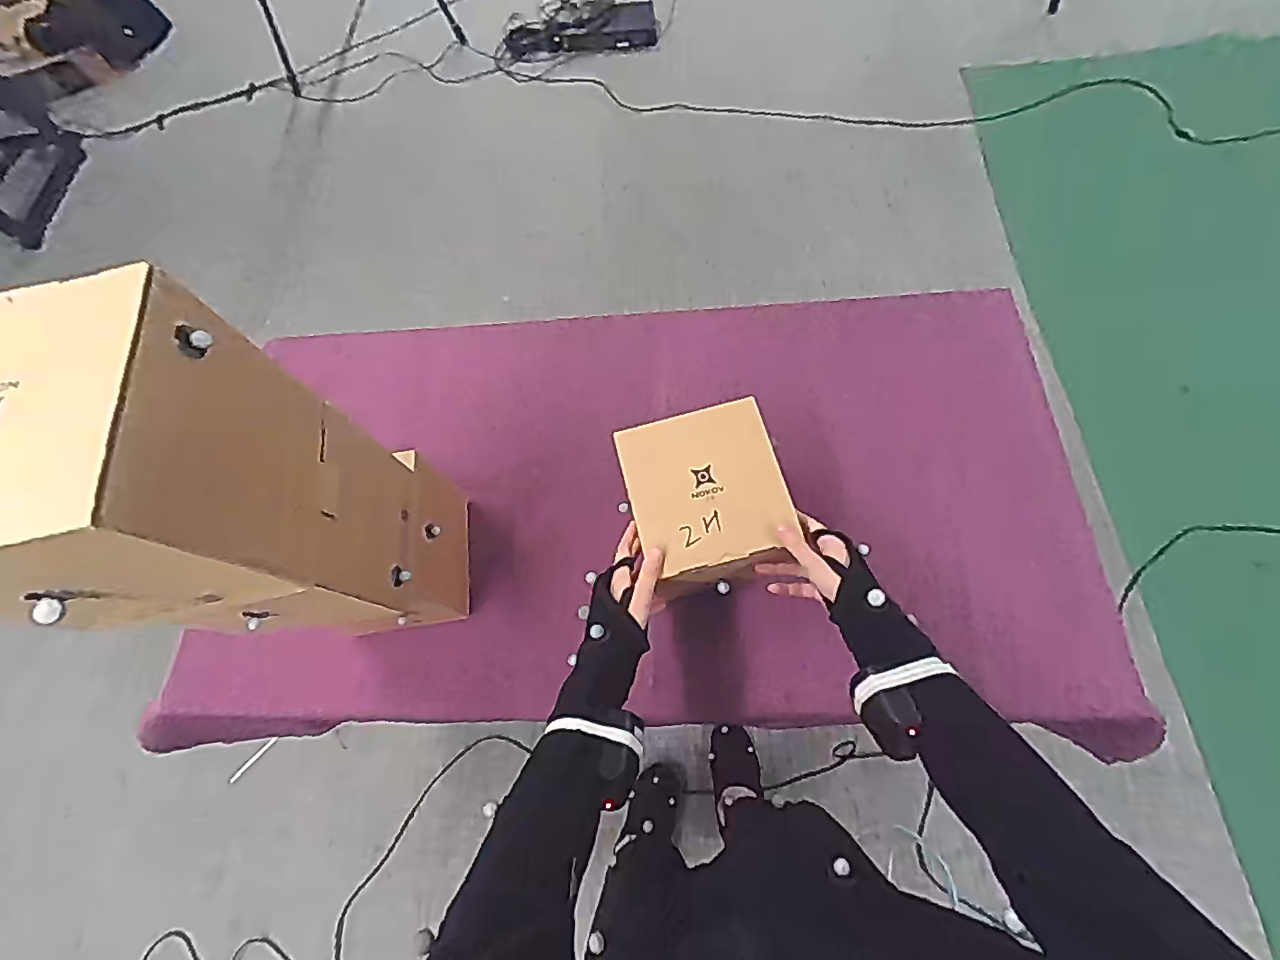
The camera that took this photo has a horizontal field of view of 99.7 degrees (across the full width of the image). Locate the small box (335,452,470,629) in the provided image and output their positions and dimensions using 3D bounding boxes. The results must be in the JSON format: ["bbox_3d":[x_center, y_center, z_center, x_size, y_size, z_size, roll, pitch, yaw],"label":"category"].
[{"bbox_3d":[-0.326,0.087,0.686,0.168,0.176,0.179,-8,66,2],"label":"small box"}]

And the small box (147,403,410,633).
[{"bbox_3d":[-0.345,0.048,0.527,0.179,0.176,0.168,-9,67,3],"label":"small box"}]

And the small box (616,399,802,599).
[{"bbox_3d":[0.075,0.032,0.652,0.168,0.176,0.179,-15,70,1],"label":"small box"}]

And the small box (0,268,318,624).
[{"bbox_3d":[-0.353,-0.005,0.373,0.168,0.176,0.179,-12,66,1],"label":"small box"}]
